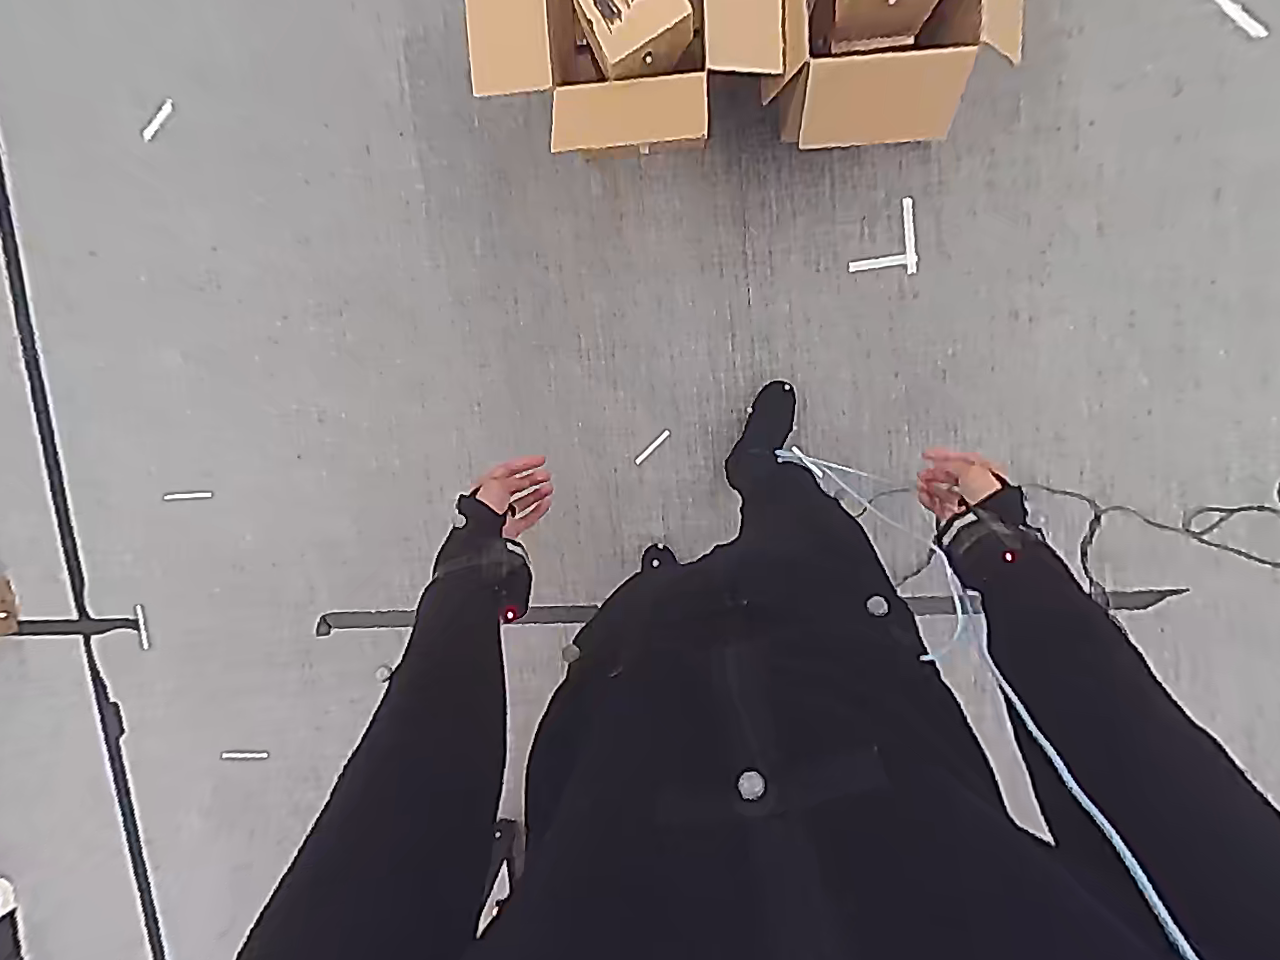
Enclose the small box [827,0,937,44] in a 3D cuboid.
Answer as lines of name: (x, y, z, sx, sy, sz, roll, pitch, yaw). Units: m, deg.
small box: (0.458, -0.951, 0.998, 0.179, 0.176, 0.168, -2, 99, 6)
